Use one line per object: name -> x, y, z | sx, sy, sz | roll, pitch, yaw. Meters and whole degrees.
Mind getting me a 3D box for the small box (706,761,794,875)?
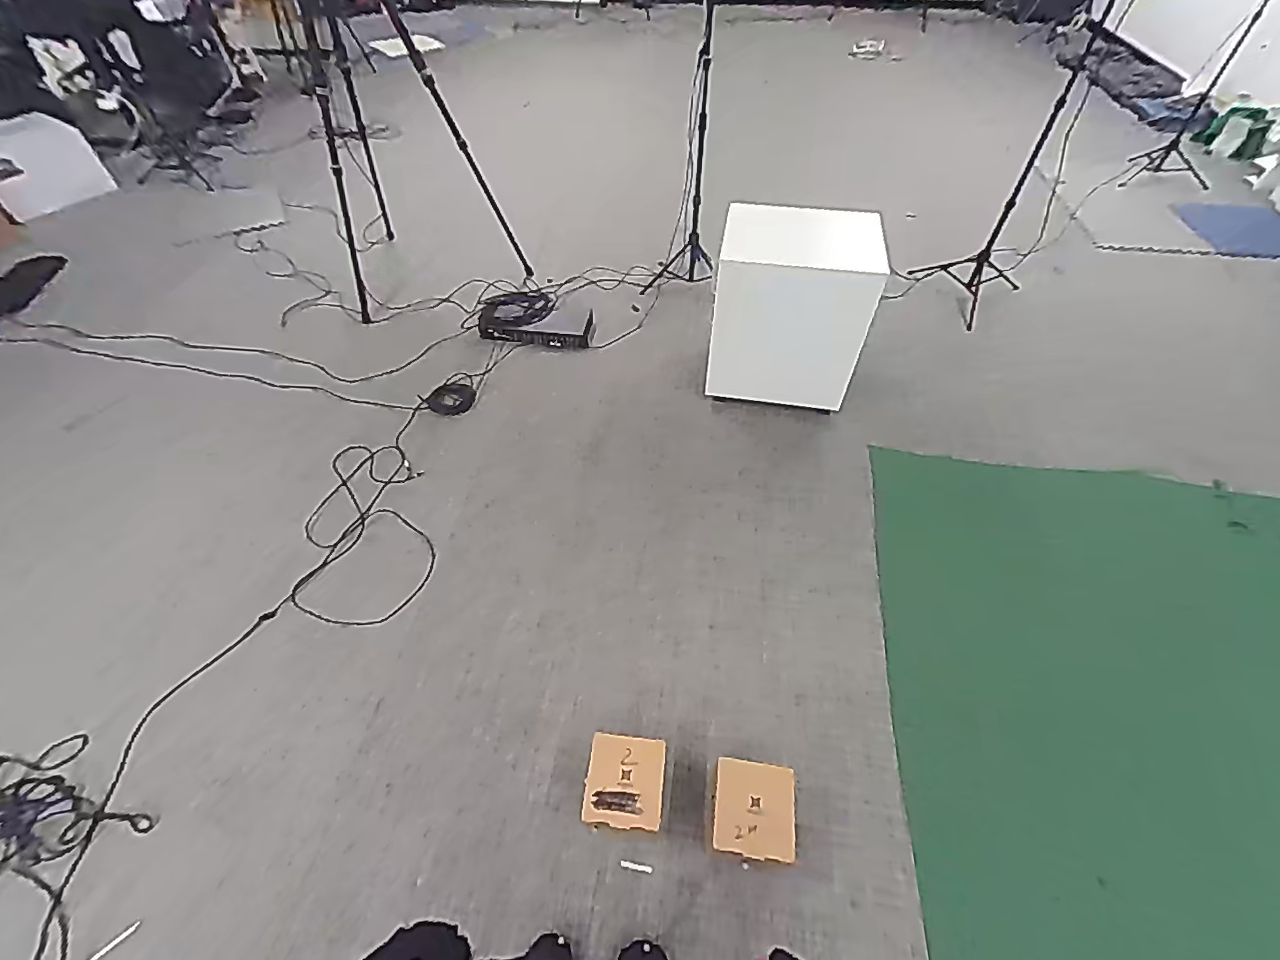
small box -> 0.240, 0.748, 1.194 | 0.168, 0.176, 0.179 | 7, 51, 7
